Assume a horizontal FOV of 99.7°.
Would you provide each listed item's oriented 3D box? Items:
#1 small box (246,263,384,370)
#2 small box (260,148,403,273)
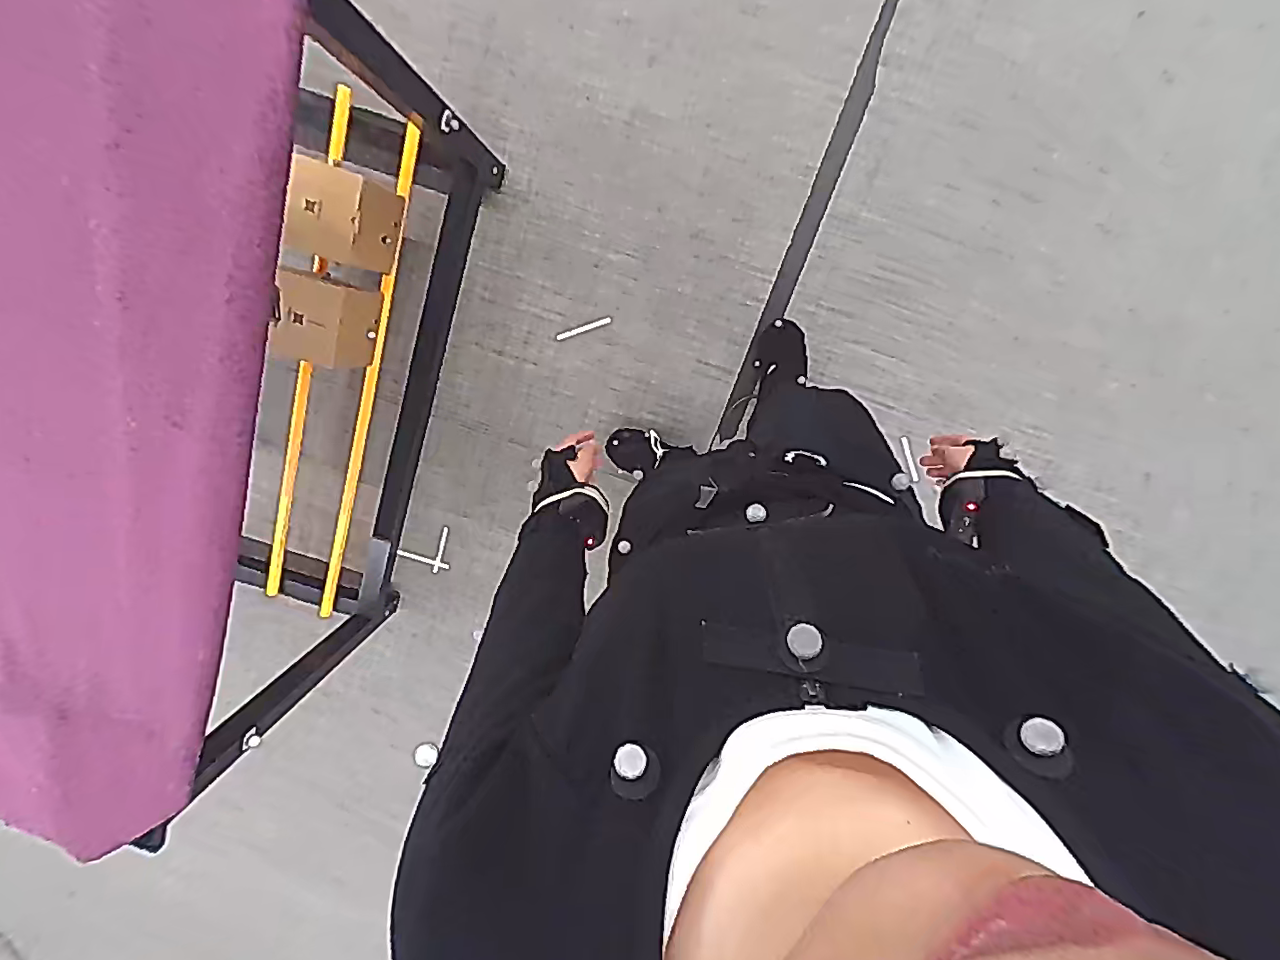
[{"bbox_3d":[-0.676,-0.337,1.137,0.179,0.176,0.168,17,104,-3],"label":"small box"},{"bbox_3d":[-0.611,-0.528,1.087,0.179,0.176,0.168,18,105,-2],"label":"small box"}]
